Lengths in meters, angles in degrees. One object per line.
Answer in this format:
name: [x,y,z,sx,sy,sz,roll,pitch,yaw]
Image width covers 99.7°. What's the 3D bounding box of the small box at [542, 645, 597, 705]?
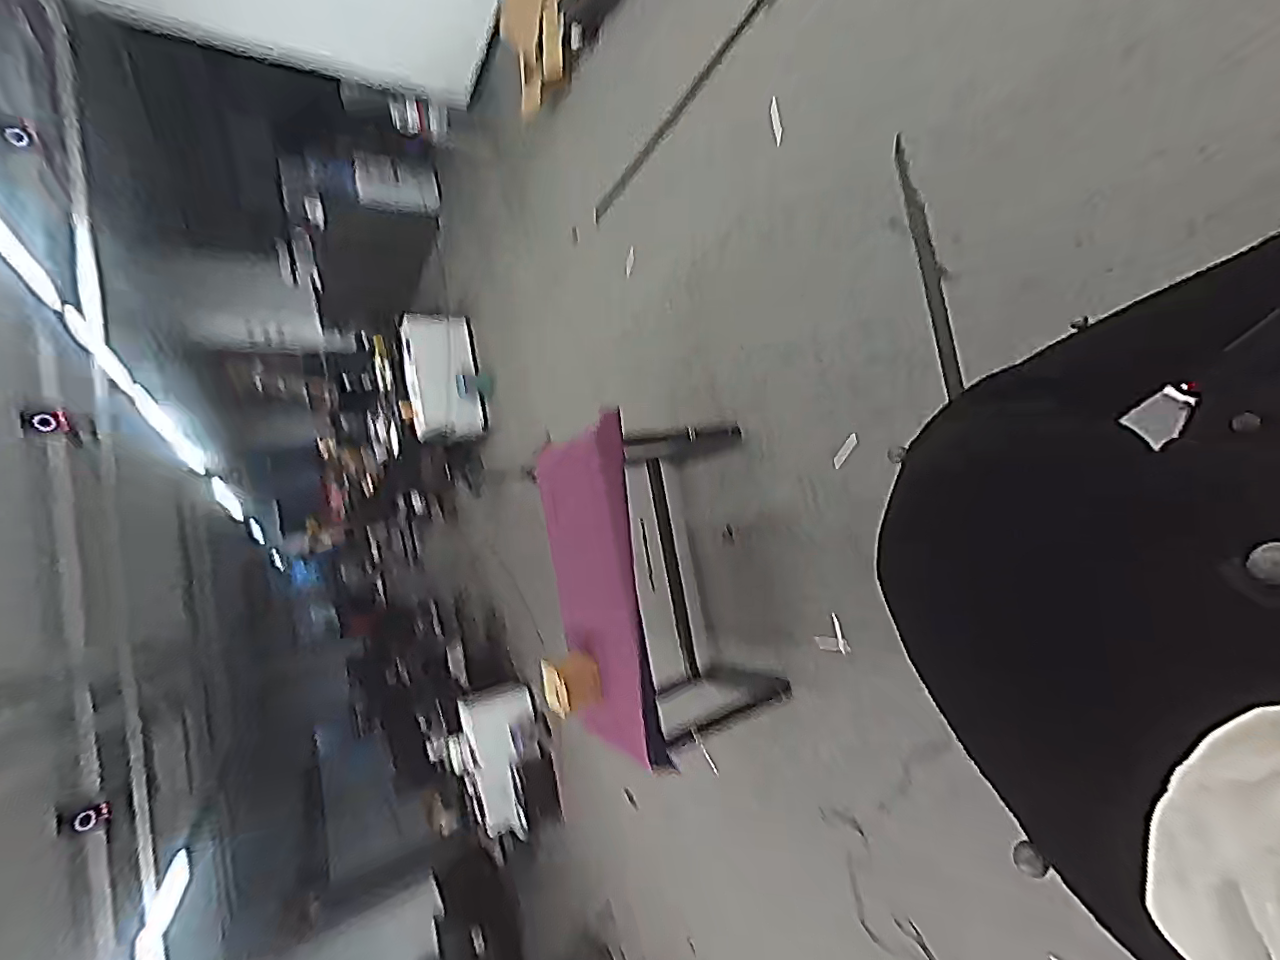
small box: [-0.283,0.788,2.209,0.179,0.176,0.168,-4,93,57]
